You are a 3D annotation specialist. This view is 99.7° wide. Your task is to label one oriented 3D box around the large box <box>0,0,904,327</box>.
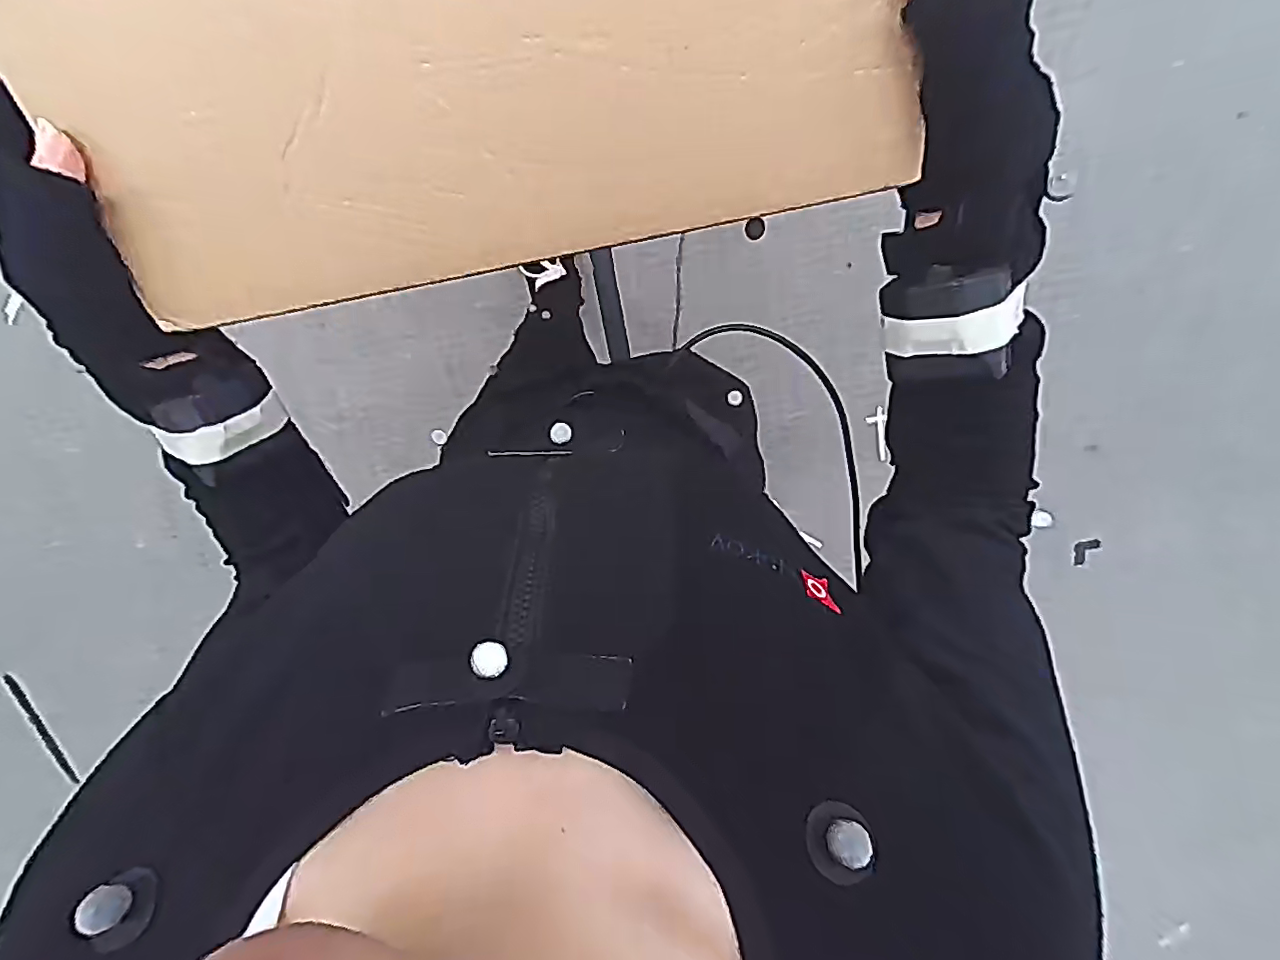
[{"bbox_3d":[-0.092,-0.324,0.348,0.408,0.320,0.320,-10,118,5],"label":"large box"}]
